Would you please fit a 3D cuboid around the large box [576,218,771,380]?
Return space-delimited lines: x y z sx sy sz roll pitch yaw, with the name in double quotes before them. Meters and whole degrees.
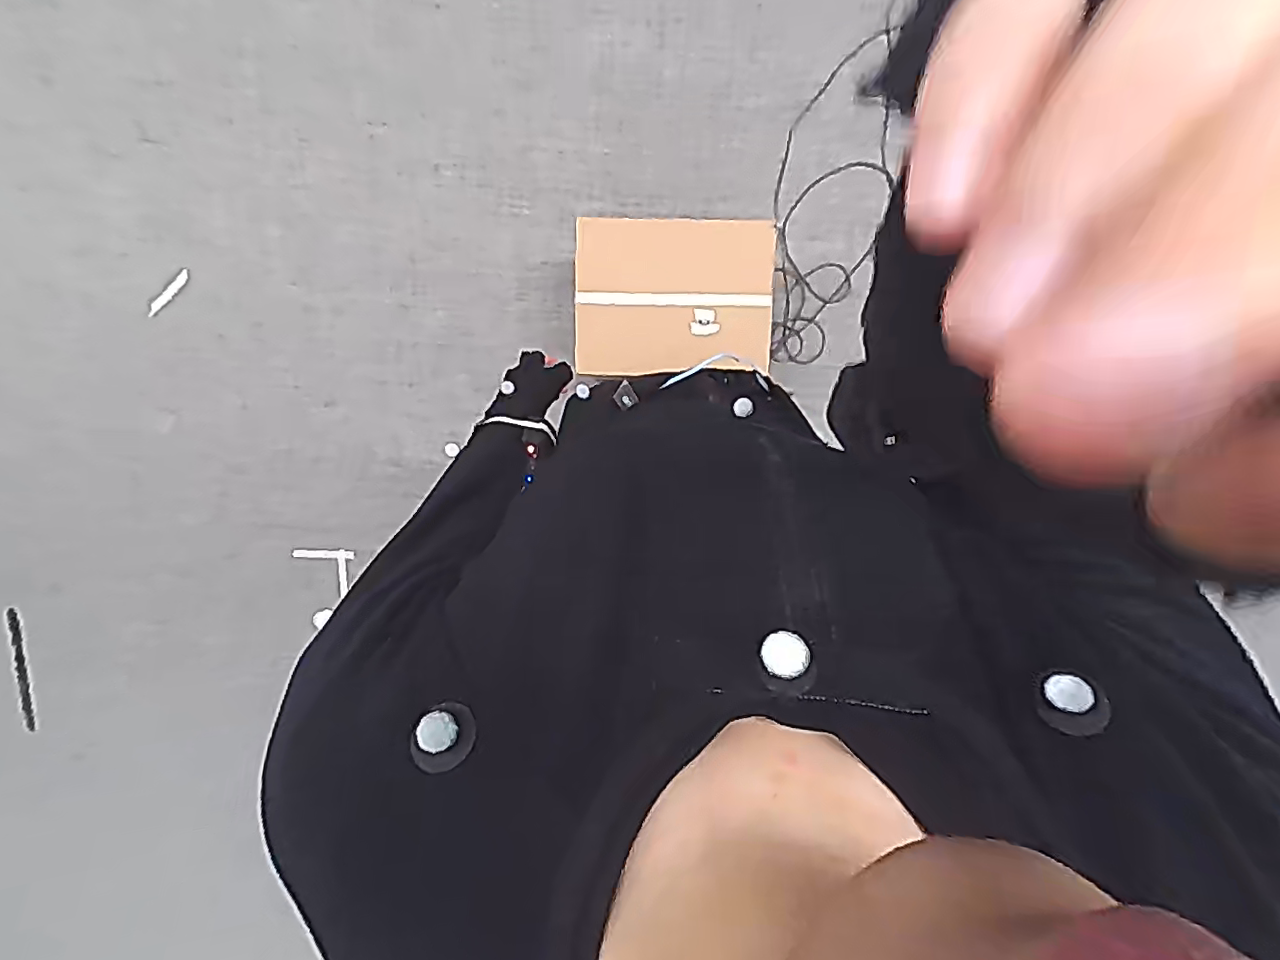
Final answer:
"large box" 0.066 -0.398 1.267 0.408 0.320 0.320 2 99 0
